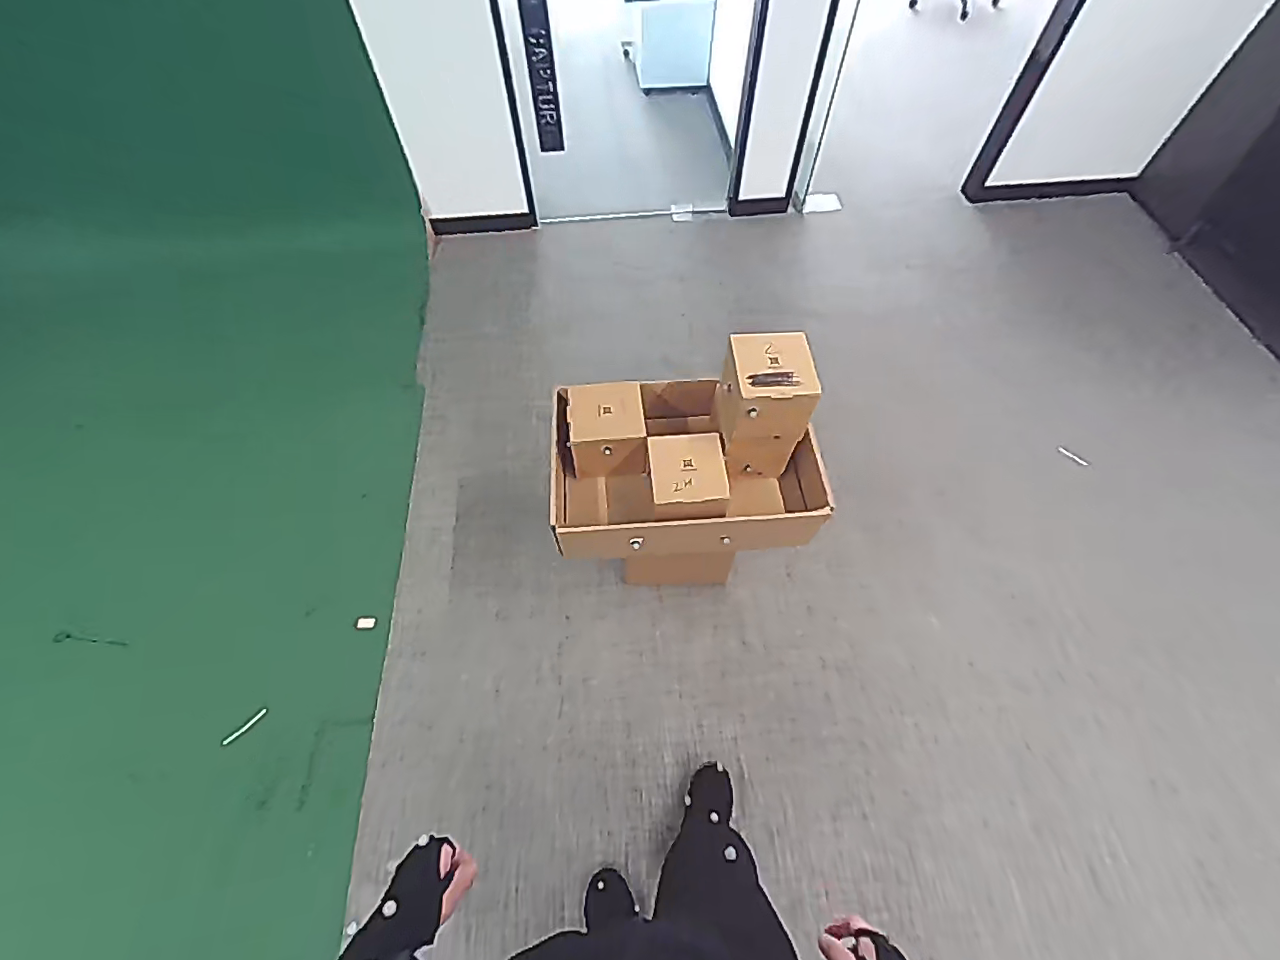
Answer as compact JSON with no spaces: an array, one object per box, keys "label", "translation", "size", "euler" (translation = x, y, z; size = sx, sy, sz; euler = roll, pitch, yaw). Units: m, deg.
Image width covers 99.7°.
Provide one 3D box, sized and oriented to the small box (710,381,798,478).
[{"label":"small box","translation":[0.272,-0.123,1.331],"size":[0.168,0.176,0.179],"euler":[-3,60,-2]}]
